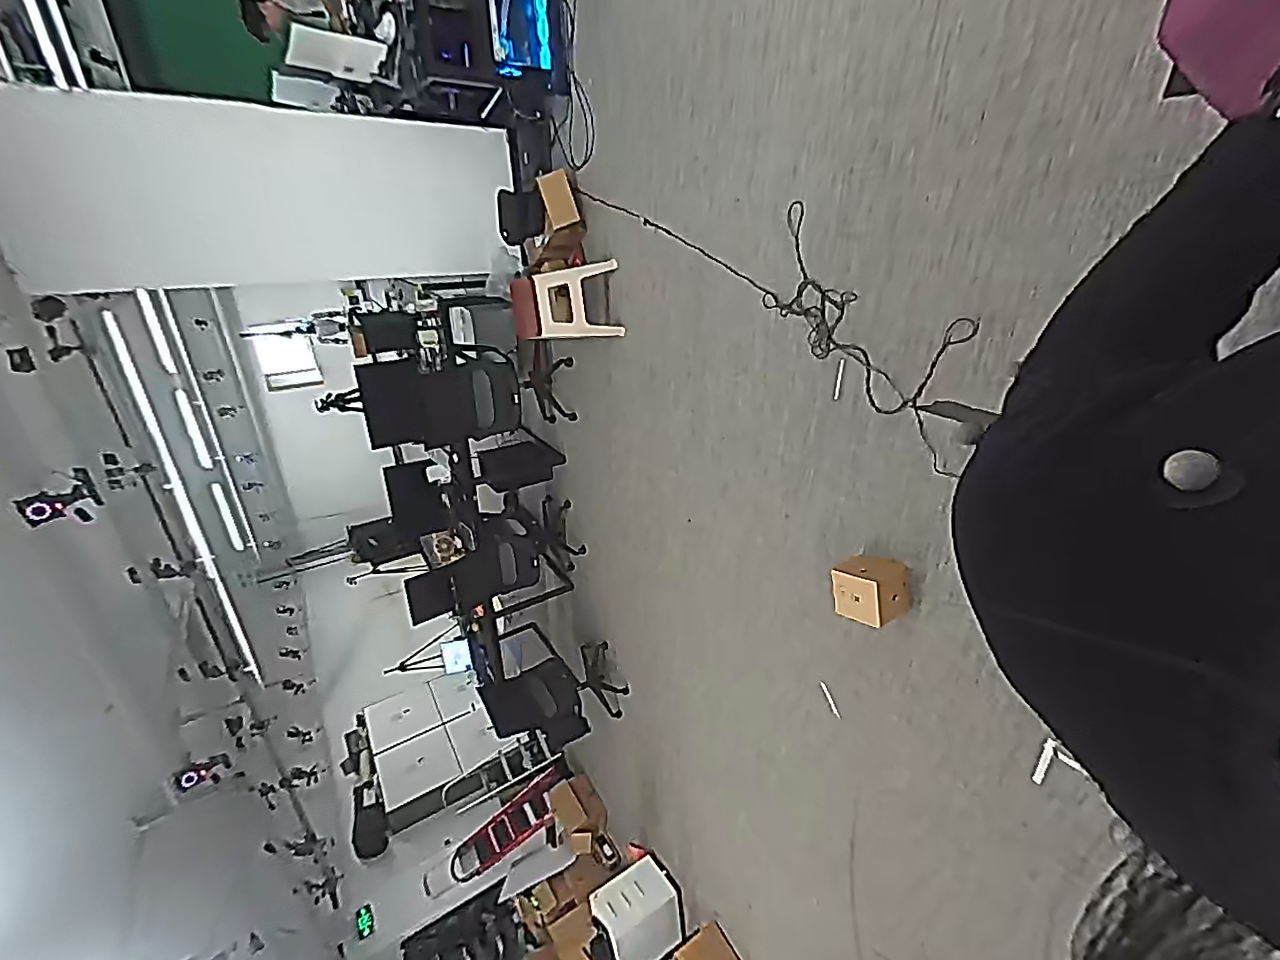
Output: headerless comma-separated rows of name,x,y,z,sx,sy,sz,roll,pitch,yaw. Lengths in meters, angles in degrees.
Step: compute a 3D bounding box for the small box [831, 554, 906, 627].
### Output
small box,0.772,0.361,1.813,0.179,0.176,0.168,12,114,58
